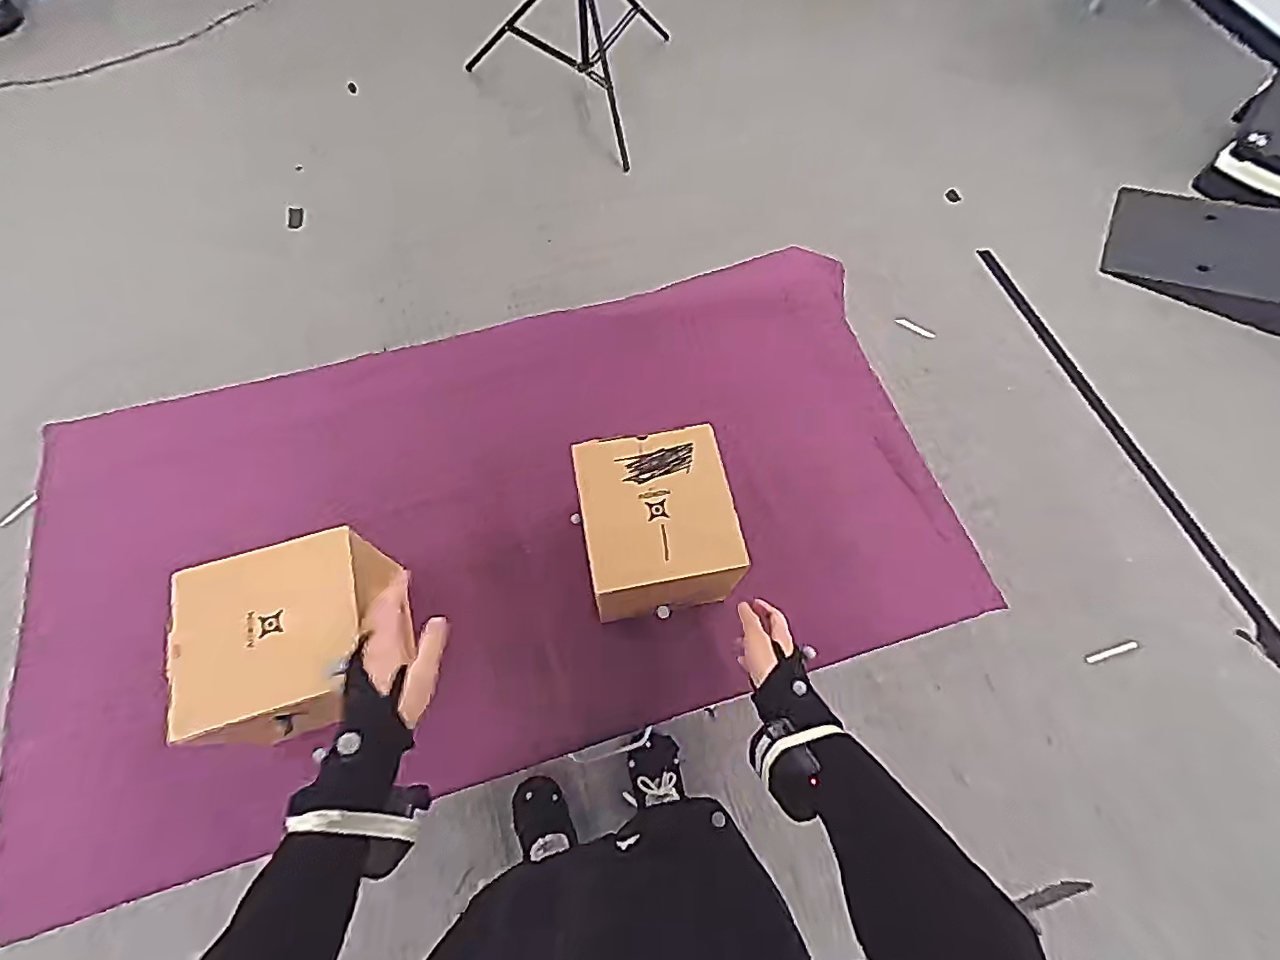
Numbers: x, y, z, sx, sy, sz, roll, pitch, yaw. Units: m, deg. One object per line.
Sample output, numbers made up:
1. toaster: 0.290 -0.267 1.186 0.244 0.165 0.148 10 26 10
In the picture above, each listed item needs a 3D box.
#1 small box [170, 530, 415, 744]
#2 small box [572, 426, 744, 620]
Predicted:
1. small box: -0.369 0.176 0.604 0.179 0.176 0.168 -17 67 -8
2. small box: 0.012 0.059 0.664 0.168 0.176 0.179 -10 67 -5
